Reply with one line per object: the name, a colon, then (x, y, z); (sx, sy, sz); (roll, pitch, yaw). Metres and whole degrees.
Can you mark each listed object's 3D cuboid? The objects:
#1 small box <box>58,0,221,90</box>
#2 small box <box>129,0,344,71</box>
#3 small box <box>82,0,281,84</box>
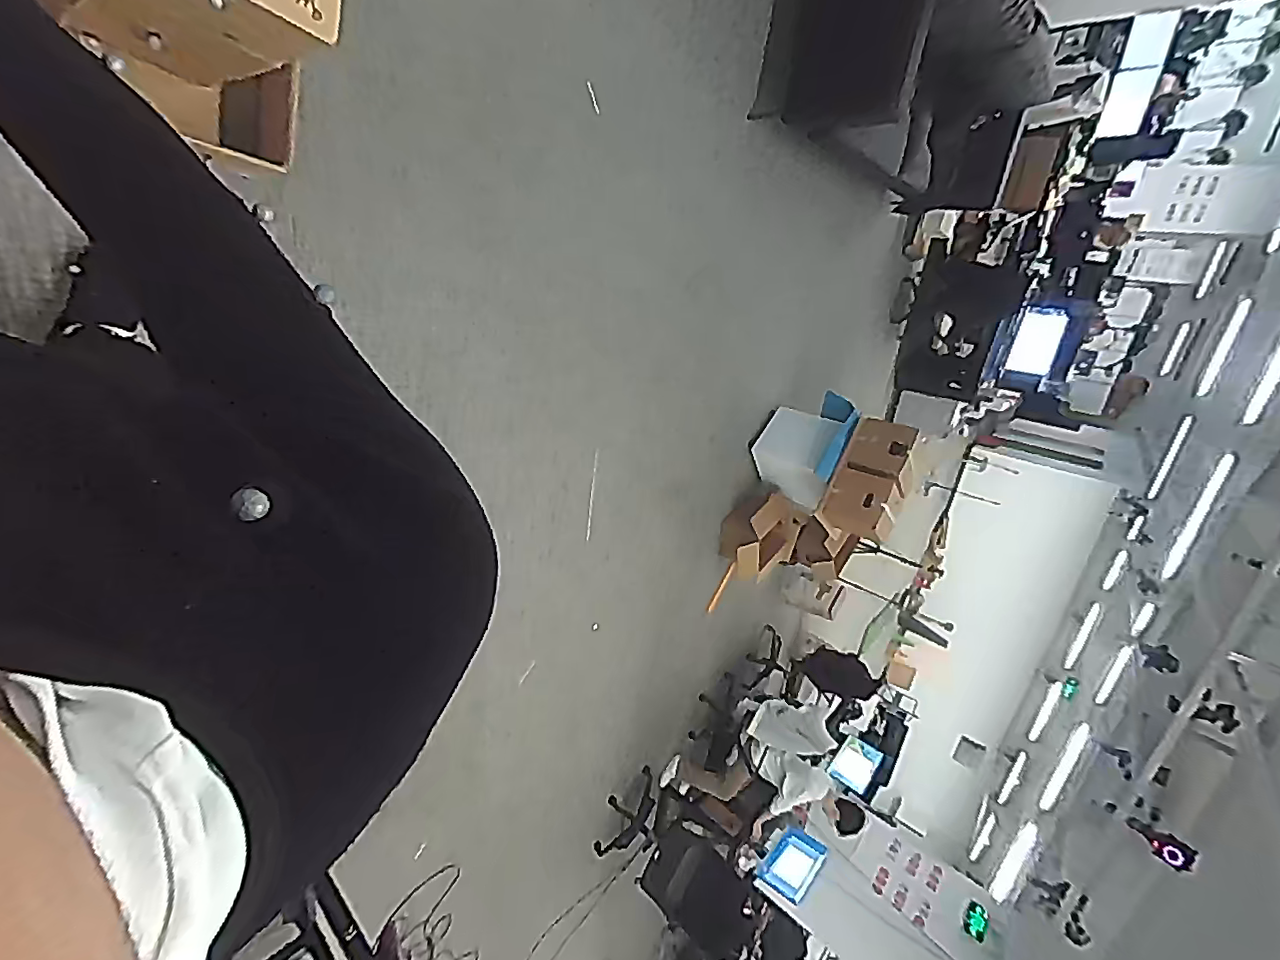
small box: (-0.662, -0.668, 0.735); (0.168, 0.176, 0.179); (-2, 110, -52)
small box: (-0.417, -0.561, 0.548); (0.168, 0.176, 0.179); (-2, 110, -51)
small box: (-0.541, -0.612, 0.642); (0.168, 0.176, 0.179); (-2, 111, -51)
